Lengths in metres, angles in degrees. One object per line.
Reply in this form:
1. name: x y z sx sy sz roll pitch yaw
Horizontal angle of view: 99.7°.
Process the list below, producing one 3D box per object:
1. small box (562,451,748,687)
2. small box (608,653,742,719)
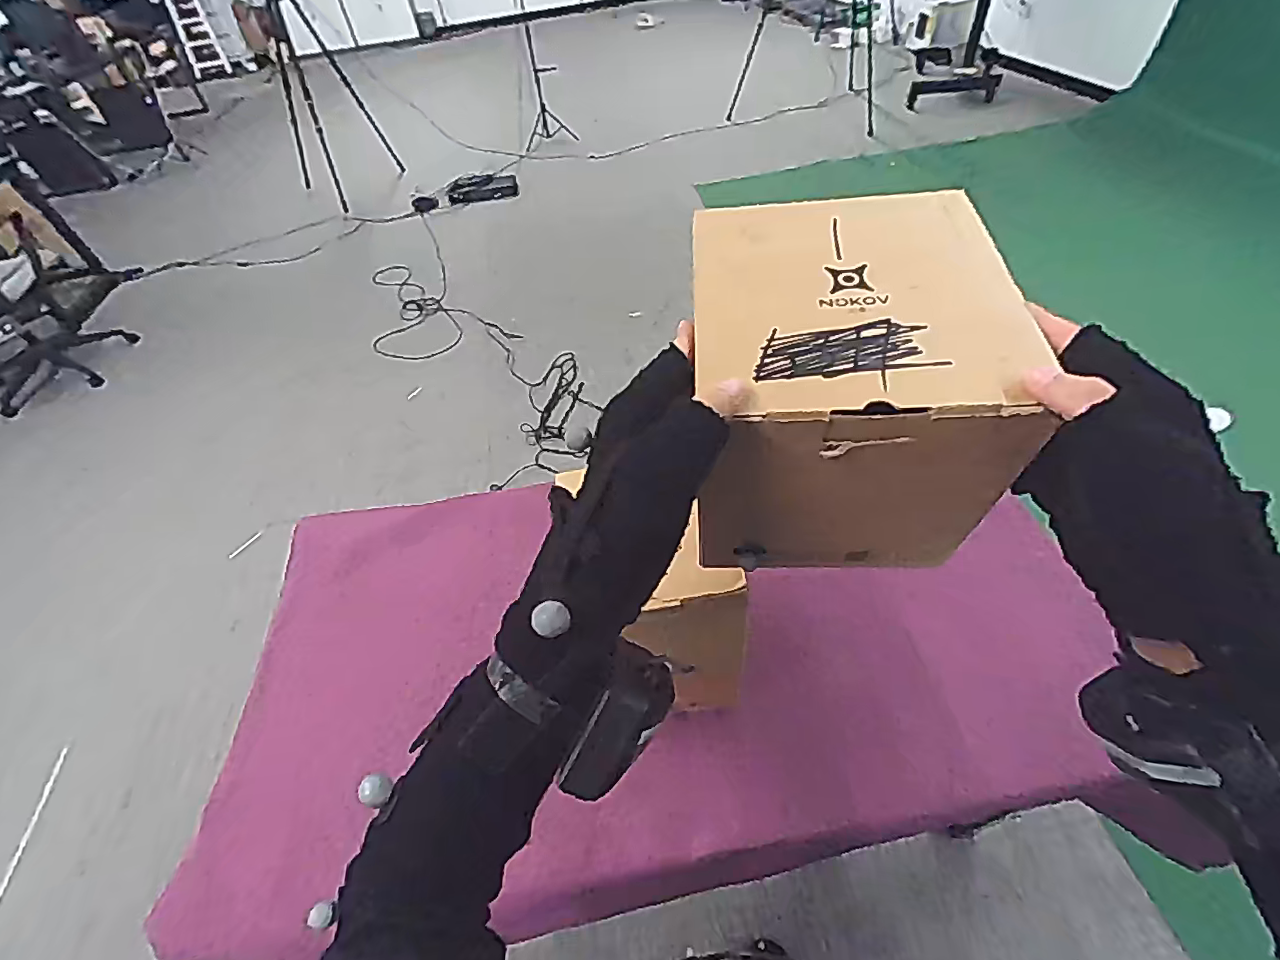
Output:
1. small box: 0.013 0.097 0.581 0.168 0.176 0.179 -10 49 1
2. small box: 0.034 0.192 0.714 0.168 0.176 0.179 -8 49 2
